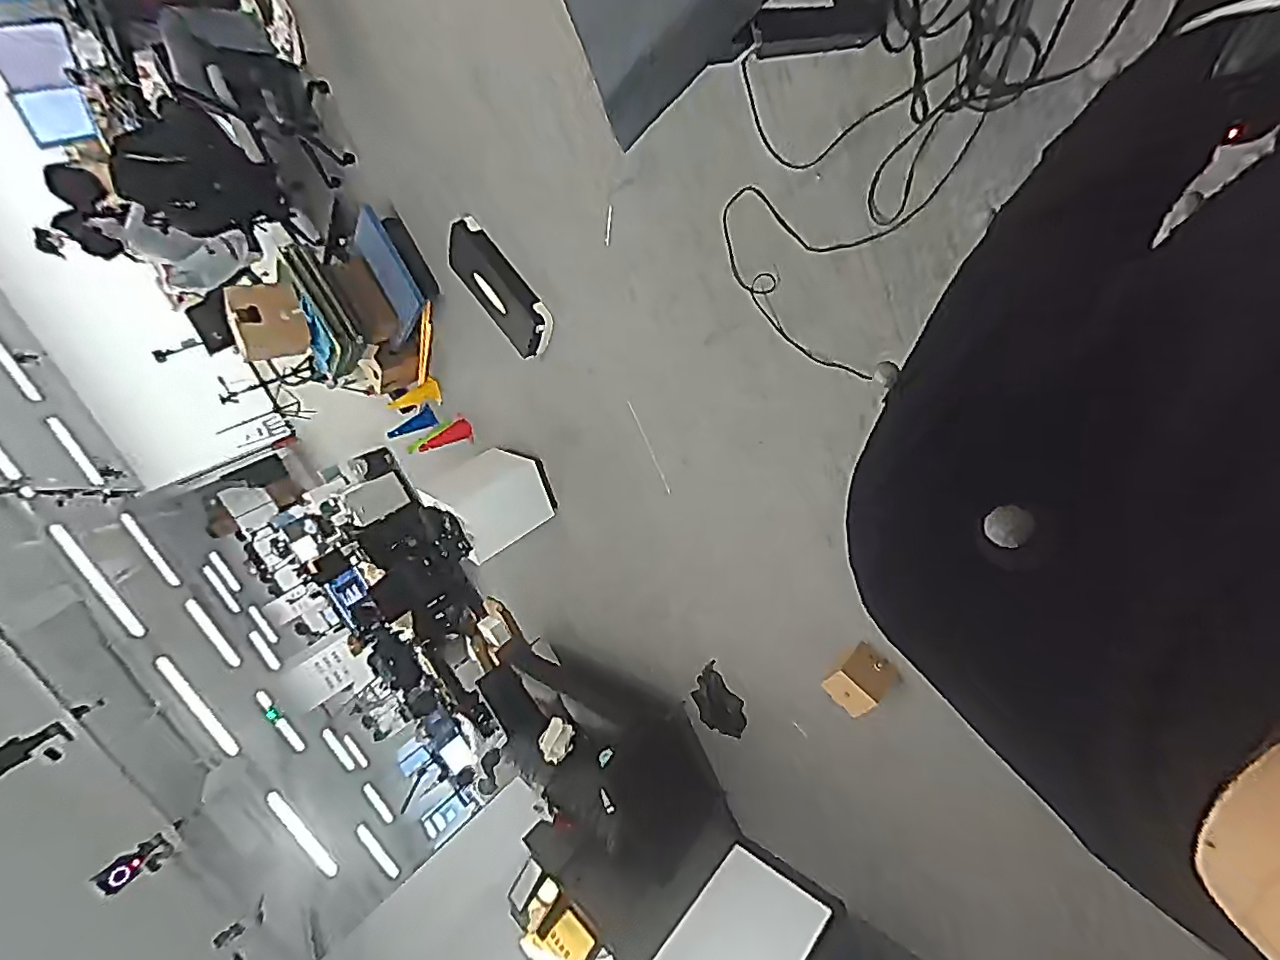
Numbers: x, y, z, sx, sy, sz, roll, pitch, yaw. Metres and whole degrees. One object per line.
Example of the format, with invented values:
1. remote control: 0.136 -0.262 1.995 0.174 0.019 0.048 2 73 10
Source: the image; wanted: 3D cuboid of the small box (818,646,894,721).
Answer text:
1. small box: 0.804 0.753 2.004 0.168 0.176 0.179 42 144 20
